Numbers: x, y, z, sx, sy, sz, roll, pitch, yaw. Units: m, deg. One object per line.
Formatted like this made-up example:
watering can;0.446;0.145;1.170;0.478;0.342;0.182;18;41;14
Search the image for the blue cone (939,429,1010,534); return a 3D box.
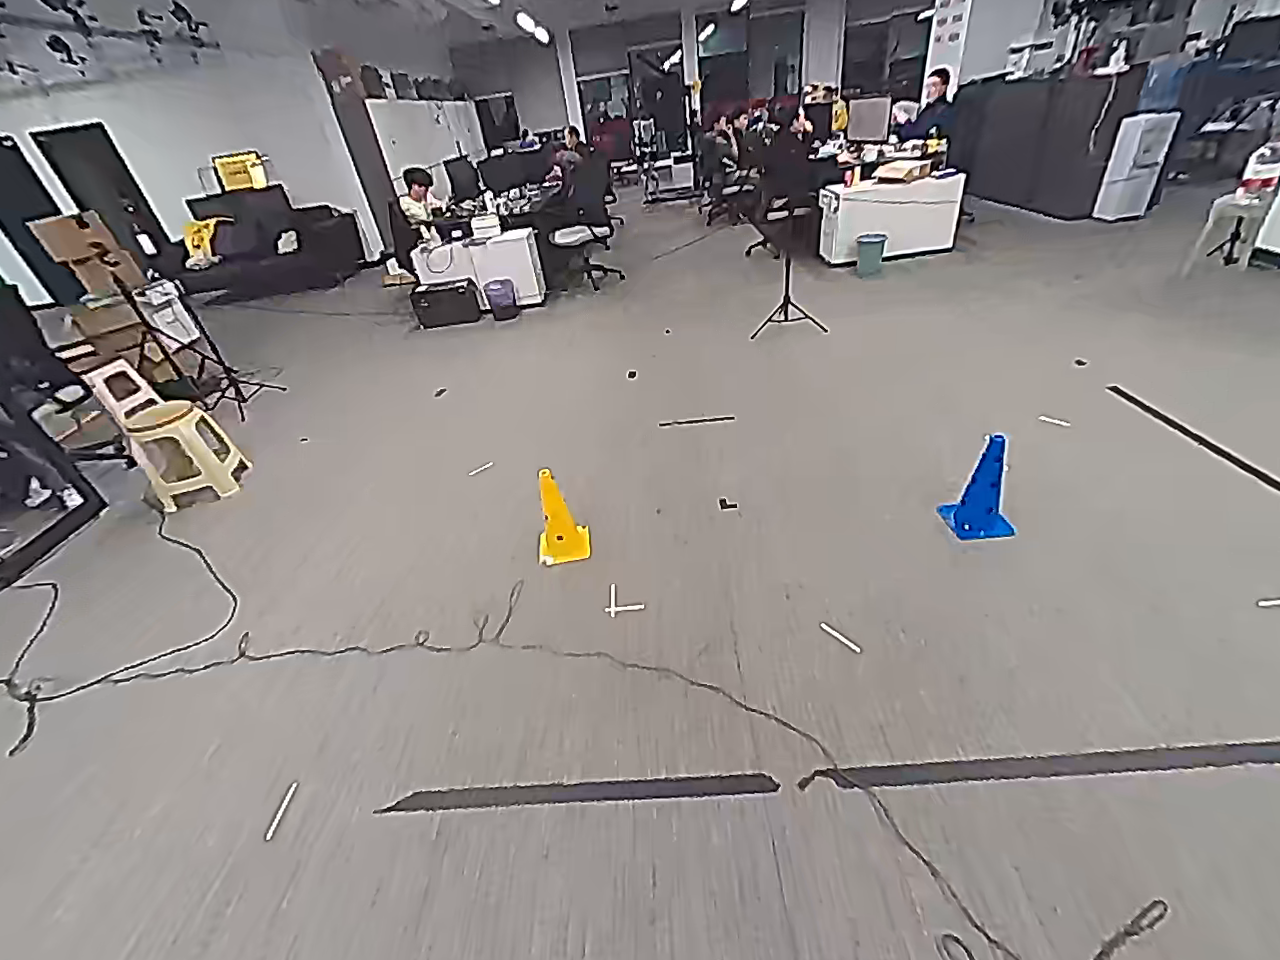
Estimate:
blue cone;1.204;0.000;1.888;0.193;0.380;0.192;-6;33;5
